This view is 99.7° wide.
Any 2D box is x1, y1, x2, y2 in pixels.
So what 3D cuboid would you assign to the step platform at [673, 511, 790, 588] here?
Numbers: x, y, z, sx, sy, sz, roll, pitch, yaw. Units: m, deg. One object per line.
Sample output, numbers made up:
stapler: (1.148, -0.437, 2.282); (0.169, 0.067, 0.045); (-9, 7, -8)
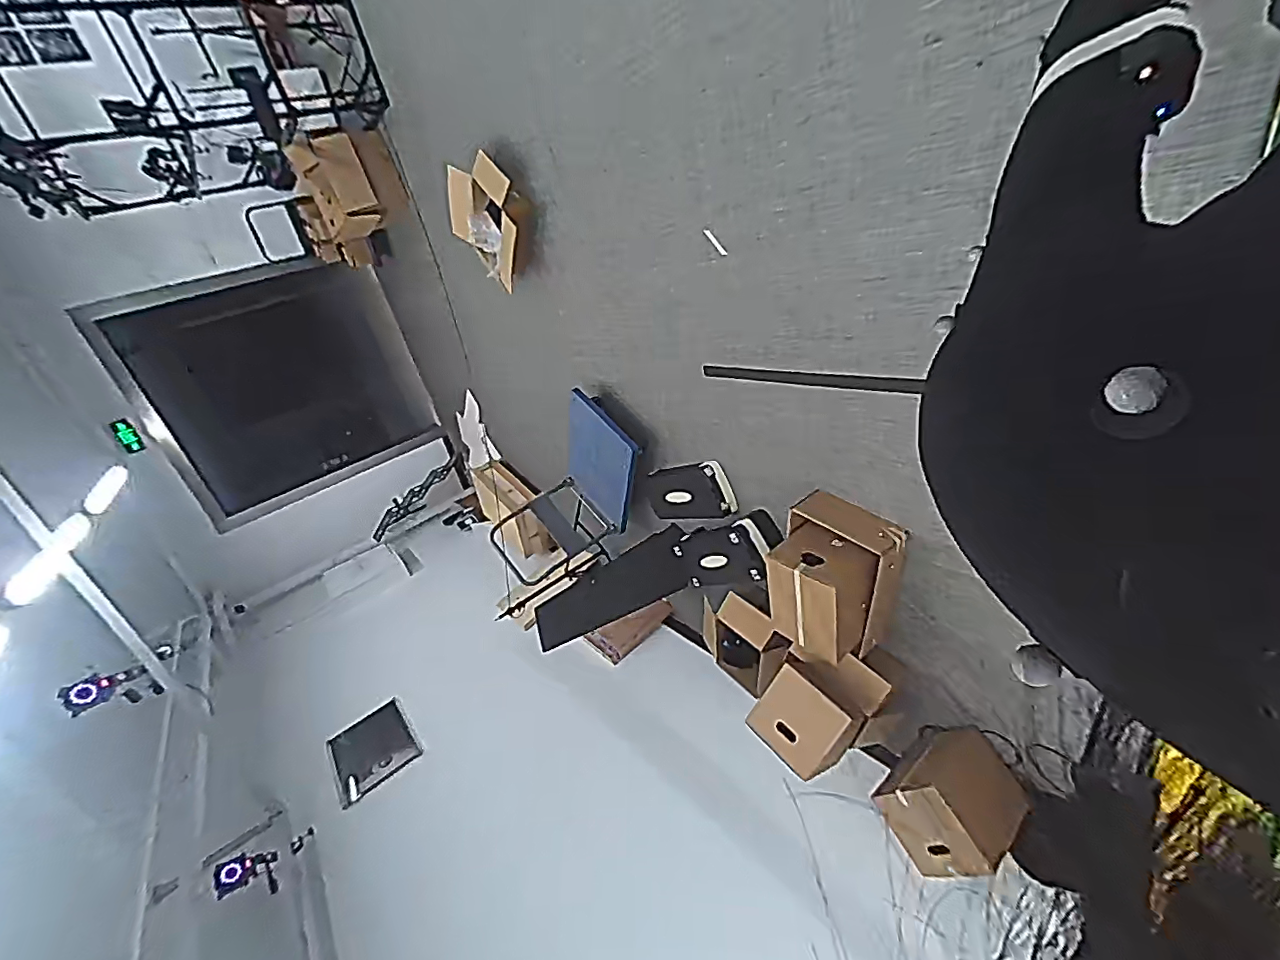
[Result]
step platform: (0.439, 0.373, 2.766); (0.286, 0.204, 0.684); (60, 151, 0)
